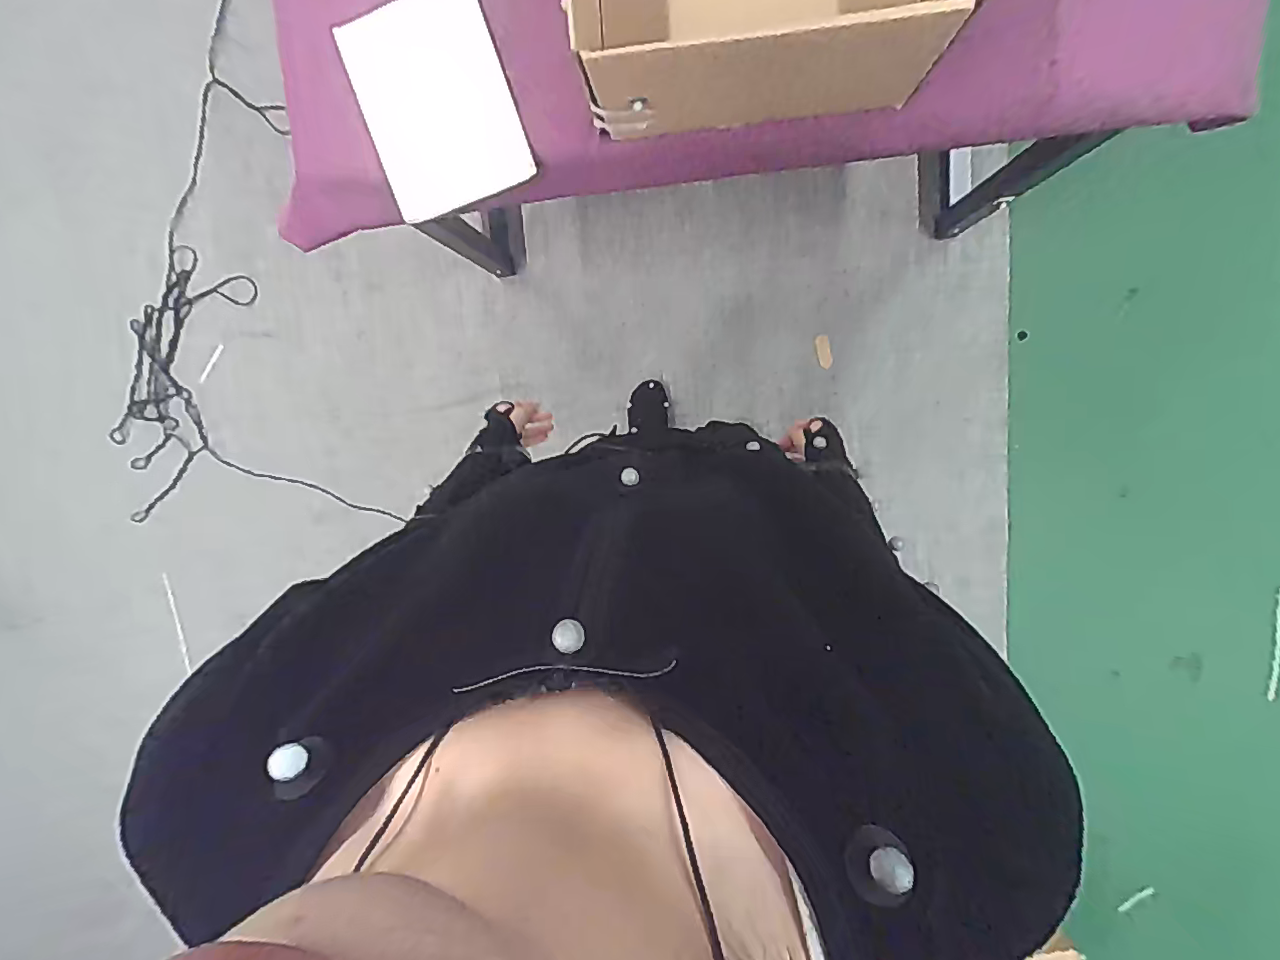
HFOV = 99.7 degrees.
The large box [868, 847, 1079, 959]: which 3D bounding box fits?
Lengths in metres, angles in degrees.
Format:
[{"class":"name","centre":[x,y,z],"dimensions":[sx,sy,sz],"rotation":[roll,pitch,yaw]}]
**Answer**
[{"class":"large box","centre":[0.899,1.283,1.458],"dimensions":[0.408,0.320,0.320],"rotation":[-19,97,7]}]
